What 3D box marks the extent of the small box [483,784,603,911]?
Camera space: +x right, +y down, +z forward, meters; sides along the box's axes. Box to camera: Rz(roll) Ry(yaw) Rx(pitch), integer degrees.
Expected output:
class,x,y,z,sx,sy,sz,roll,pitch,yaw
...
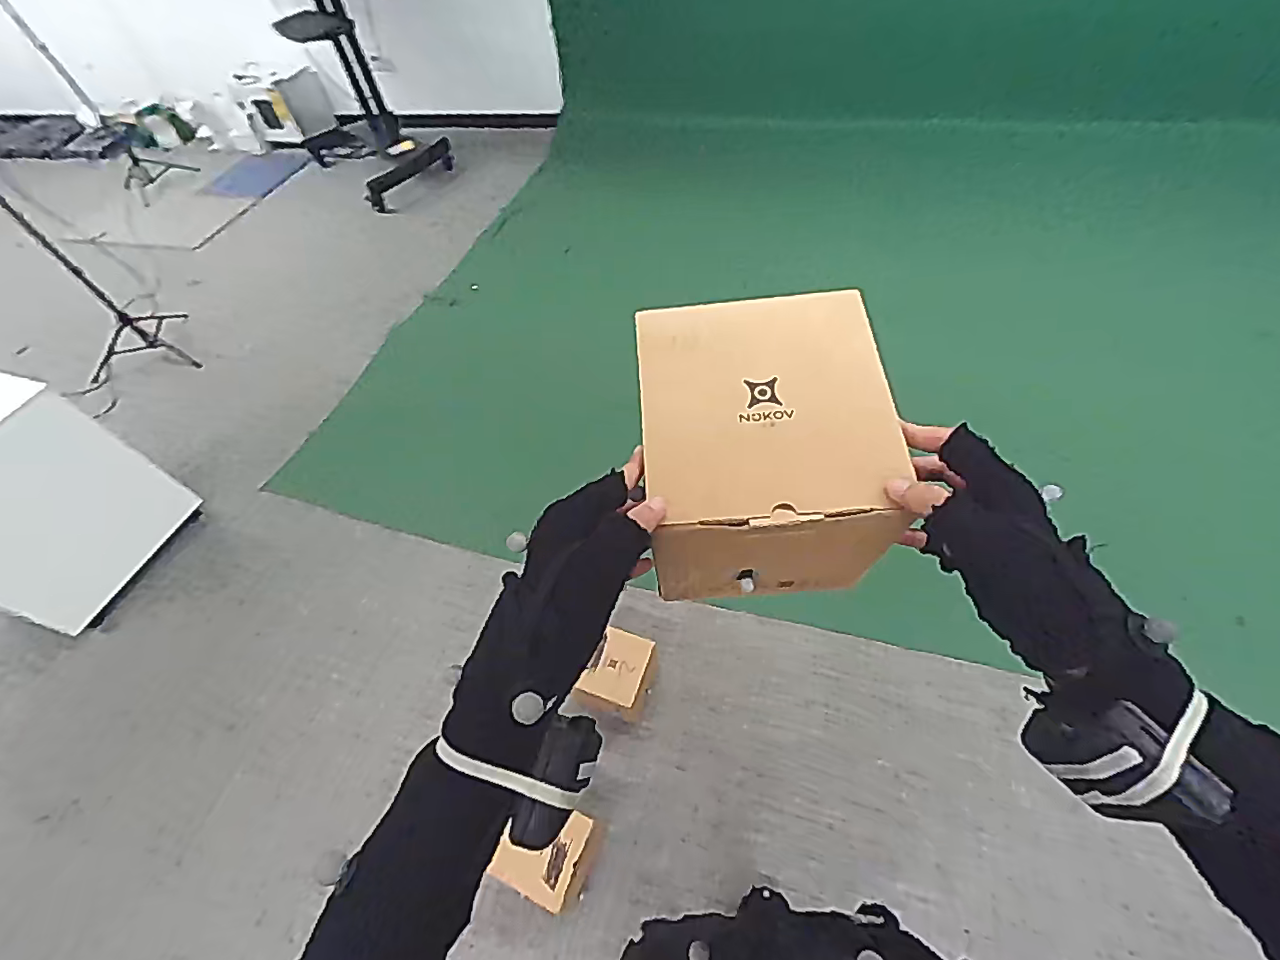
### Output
class,x,y,z,sx,sy,sz,roll,pitch,yaw
small box,-0.195,0.780,1.154,0.179,0.176,0.168,16,57,19
